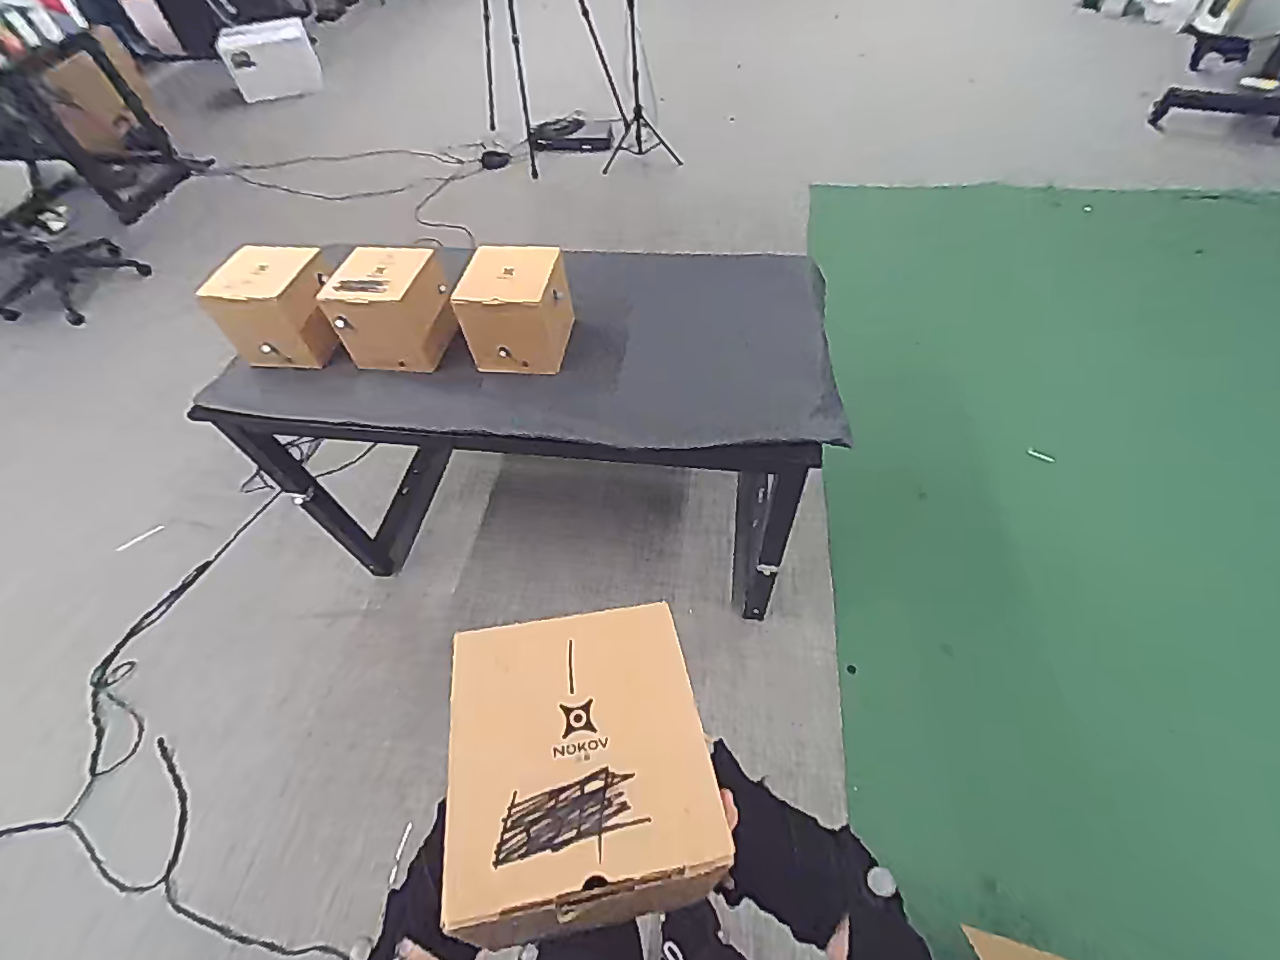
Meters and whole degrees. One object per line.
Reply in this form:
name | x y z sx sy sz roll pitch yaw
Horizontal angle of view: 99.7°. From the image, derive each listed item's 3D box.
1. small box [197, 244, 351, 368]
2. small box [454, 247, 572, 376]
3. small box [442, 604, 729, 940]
small box | -0.721 -0.351 1.095 0.168 0.176 0.179 4 53 5
small box | -0.235 -0.328 1.054 0.168 0.176 0.179 4 55 6
small box | -0.045 0.223 0.413 0.168 0.176 0.179 -6 45 -10
